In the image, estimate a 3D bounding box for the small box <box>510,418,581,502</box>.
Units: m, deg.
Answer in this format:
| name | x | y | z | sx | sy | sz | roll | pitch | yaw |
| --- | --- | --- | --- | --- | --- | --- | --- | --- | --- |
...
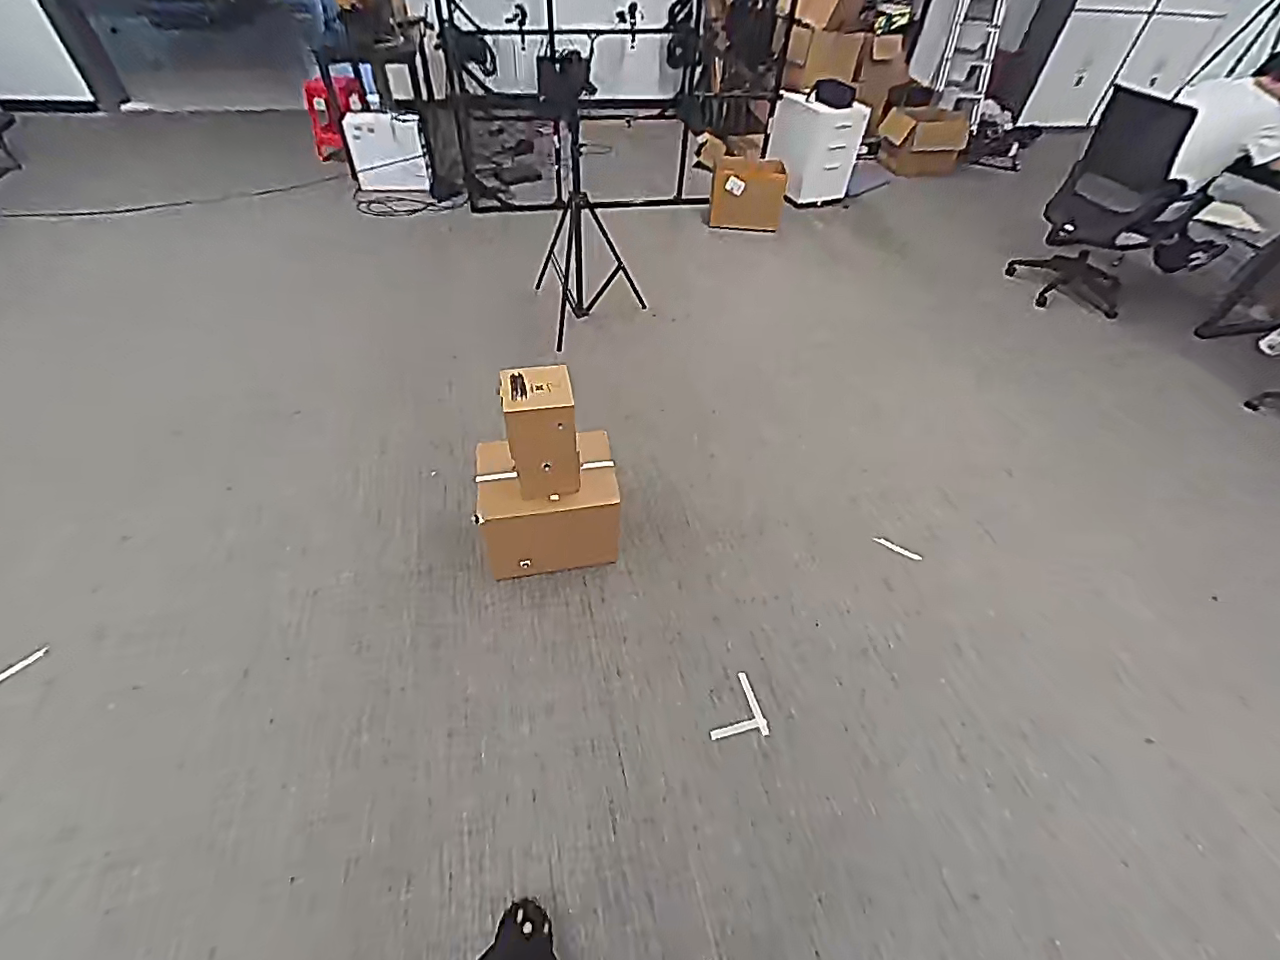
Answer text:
| name | x | y | z | sx | sy | sz | roll | pitch | yaw |
| --- | --- | --- | --- | --- | --- | --- | --- | --- | --- |
| small box | -0.267 | -0.054 | 1.540 | 0.179 | 0.176 | 0.168 | -8 | 50 | -12 |
